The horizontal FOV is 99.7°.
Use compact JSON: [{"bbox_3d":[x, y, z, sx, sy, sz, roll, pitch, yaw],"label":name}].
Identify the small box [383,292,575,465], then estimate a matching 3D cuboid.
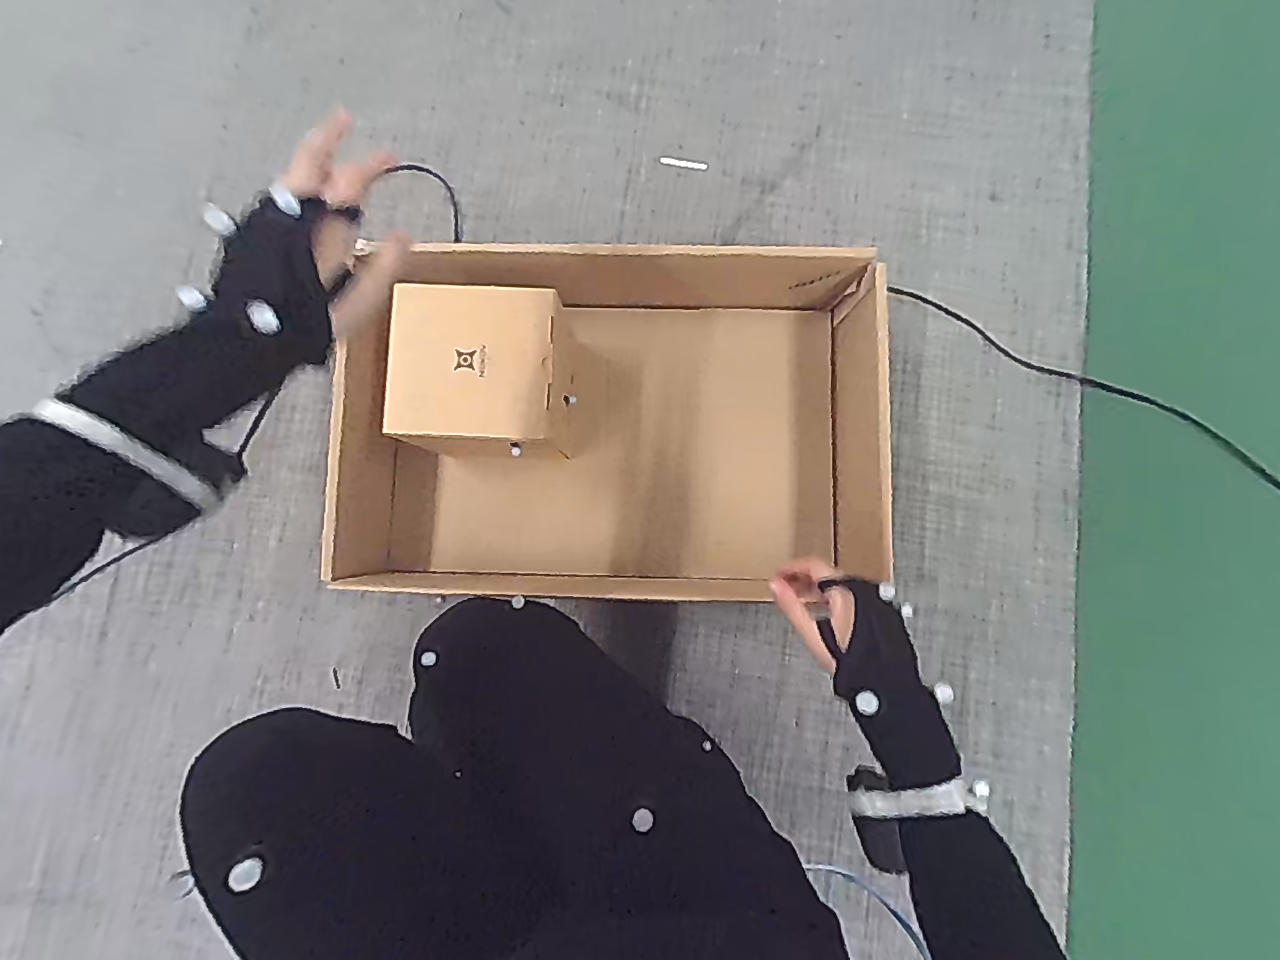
[{"bbox_3d":[-0.181,-0.111,0.655,0.179,0.176,0.168,2,85,0],"label":"small box"}]
